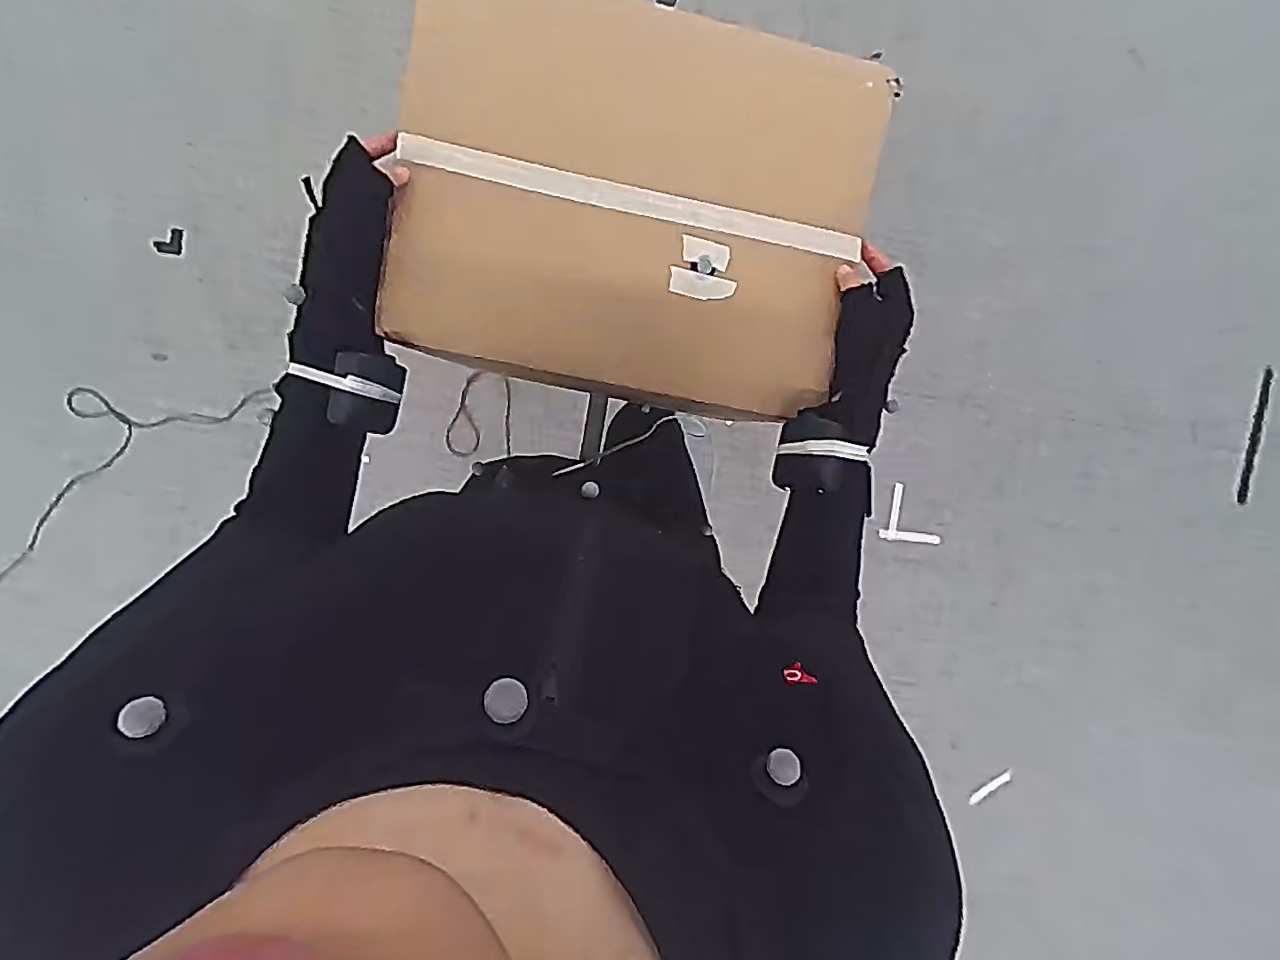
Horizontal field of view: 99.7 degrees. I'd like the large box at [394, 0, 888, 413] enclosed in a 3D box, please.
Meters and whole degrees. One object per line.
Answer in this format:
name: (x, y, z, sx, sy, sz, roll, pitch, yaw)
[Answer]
large box: (-0.012, -0.264, 0.624, 0.408, 0.320, 0.320, 11, 97, -6)
